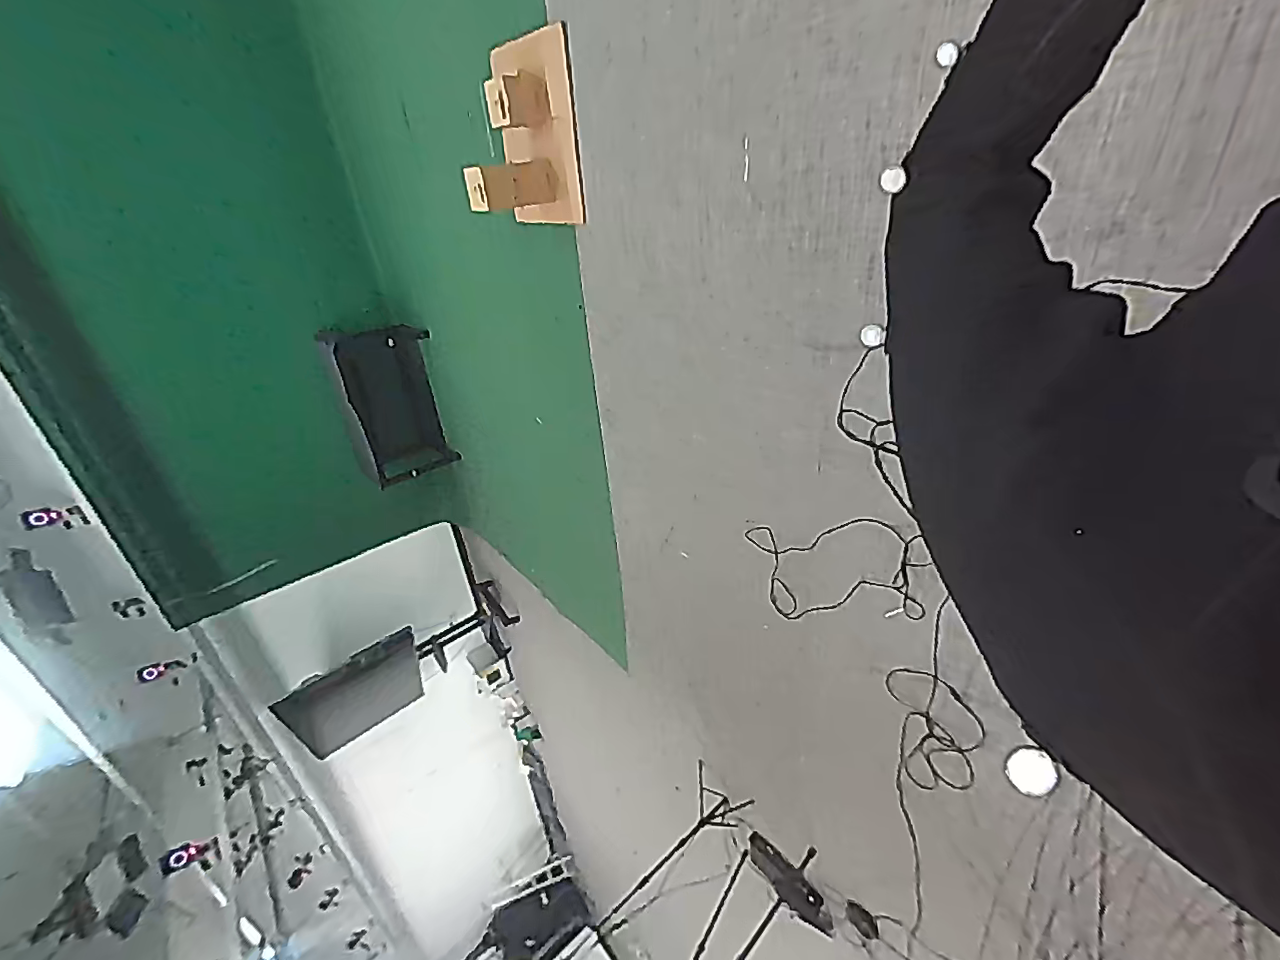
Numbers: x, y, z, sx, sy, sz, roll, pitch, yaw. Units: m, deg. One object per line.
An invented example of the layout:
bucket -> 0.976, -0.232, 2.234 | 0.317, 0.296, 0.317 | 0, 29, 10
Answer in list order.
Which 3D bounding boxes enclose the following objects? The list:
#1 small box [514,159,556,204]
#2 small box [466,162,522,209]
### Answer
small box -> -0.500, -1.340, 2.428 | 0.179, 0.176, 0.168 | 27, 134, 44
small box -> -0.626, -1.278, 2.343 | 0.179, 0.176, 0.168 | 30, 135, 44
